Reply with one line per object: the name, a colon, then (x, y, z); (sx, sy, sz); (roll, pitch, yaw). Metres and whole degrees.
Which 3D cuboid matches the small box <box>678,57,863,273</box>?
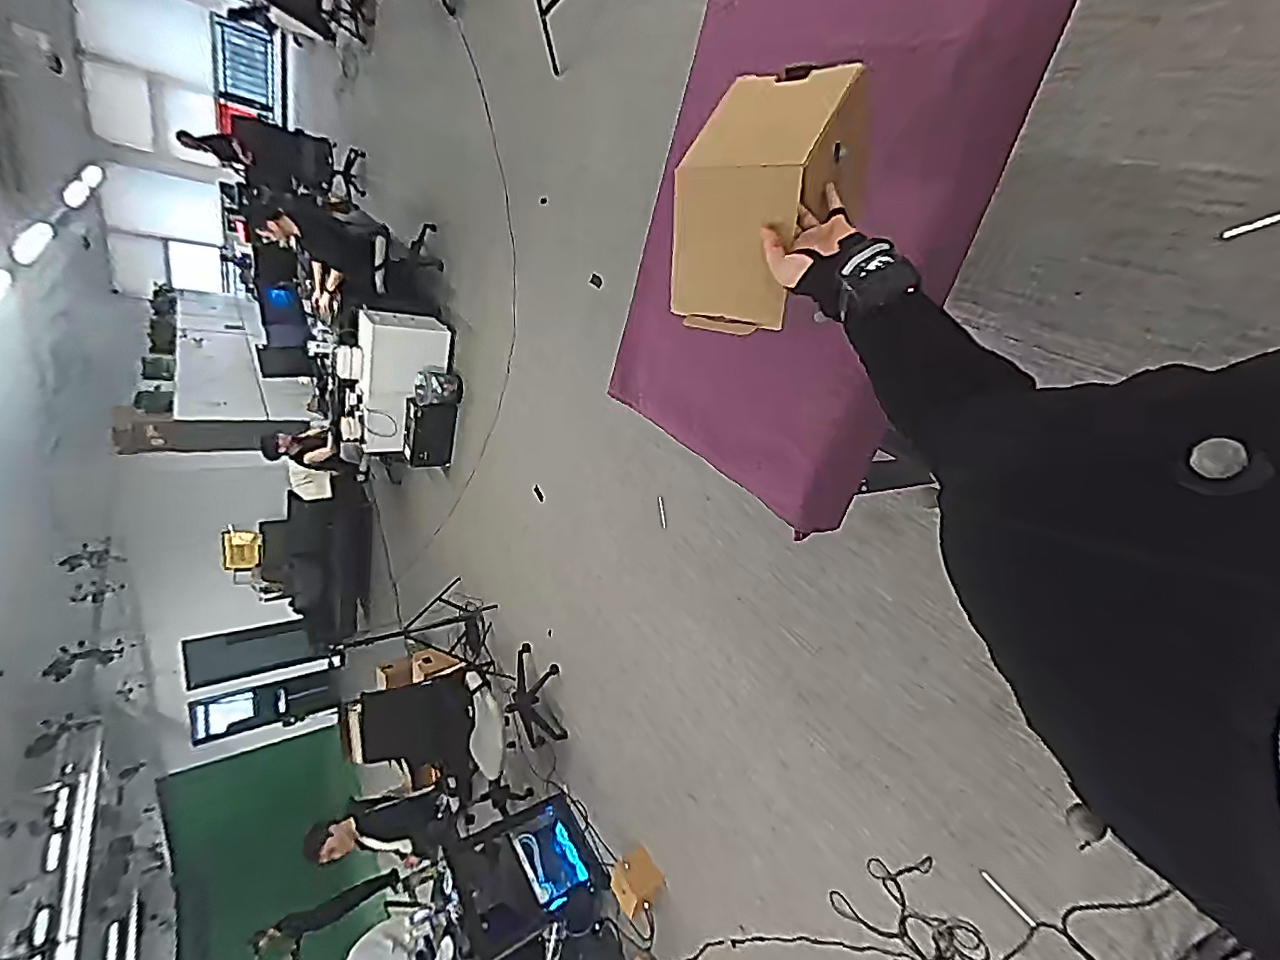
small box: (0.180, -0.396, 0.703); (0.168, 0.176, 0.179); (21, 75, 32)
